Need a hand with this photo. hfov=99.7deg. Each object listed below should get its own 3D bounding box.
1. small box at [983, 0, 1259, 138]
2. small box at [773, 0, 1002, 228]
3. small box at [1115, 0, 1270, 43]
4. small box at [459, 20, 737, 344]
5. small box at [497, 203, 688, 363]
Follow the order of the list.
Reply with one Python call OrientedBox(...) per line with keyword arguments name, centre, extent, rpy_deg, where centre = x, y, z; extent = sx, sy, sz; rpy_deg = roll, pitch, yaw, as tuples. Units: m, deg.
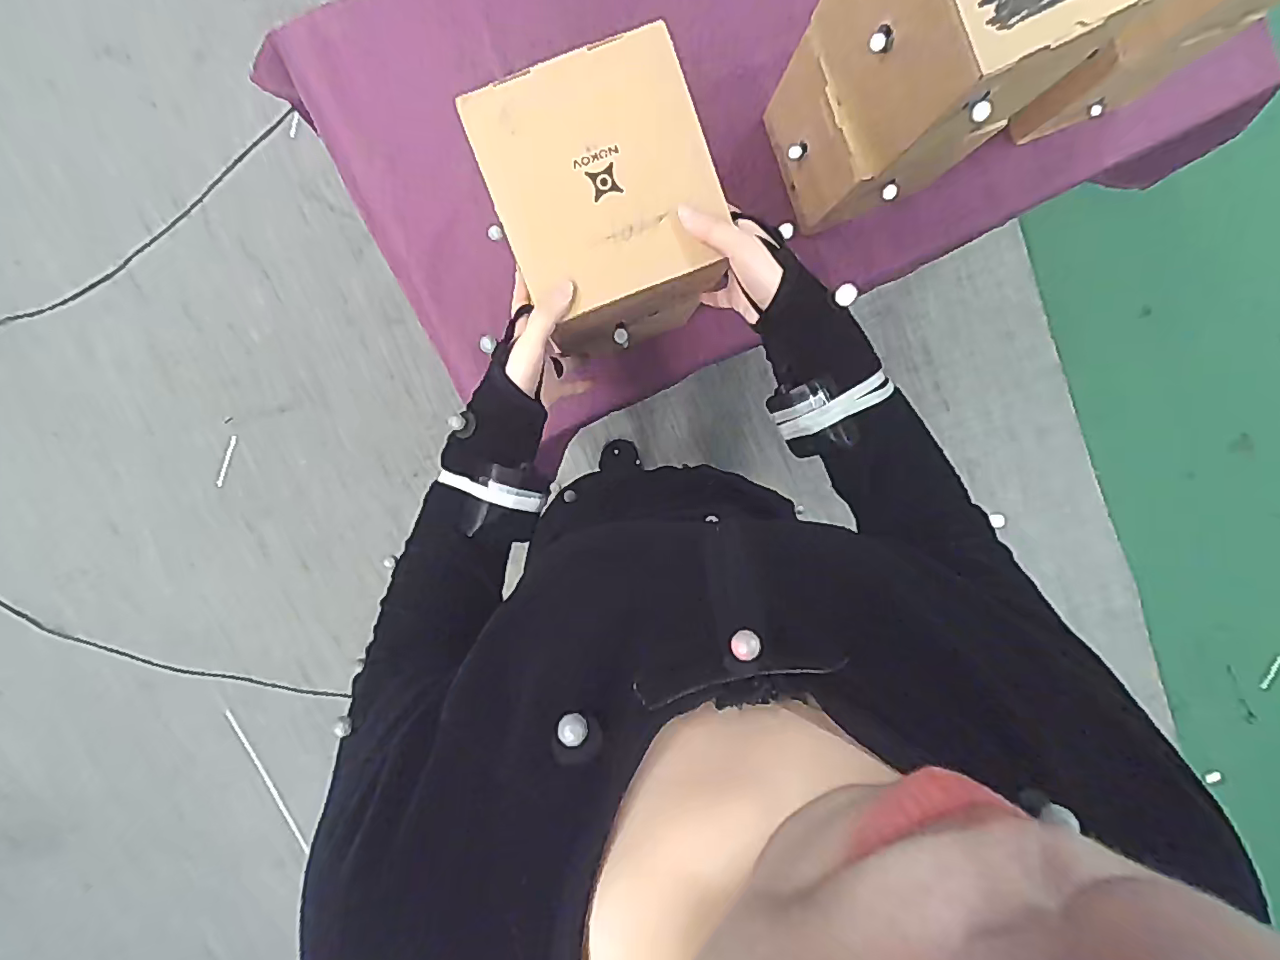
OrientedBox(name="small box", centre=(0.557, -0.563, 0.651), extent=(0.168, 0.176, 0.179), rpy_deg=(-21, 97, -1))
OrientedBox(name="small box", centre=(0.275, -0.433, 0.647), extent=(0.179, 0.176, 0.168), rpy_deg=(-22, 96, 0))
OrientedBox(name="small box", centre=(0.568, -0.547, 0.487), extent=(0.168, 0.176, 0.179), rpy_deg=(-22, 96, -1))
OrientedBox(name="small box", centre=(-0.034, -0.239, 0.484), extent=(0.168, 0.176, 0.179), rpy_deg=(-21, 98, 0))
OrientedBox(name="small box", centre=(-0.044, -0.252, 0.646), extent=(0.179, 0.176, 0.168), rpy_deg=(-22, 96, -2))
